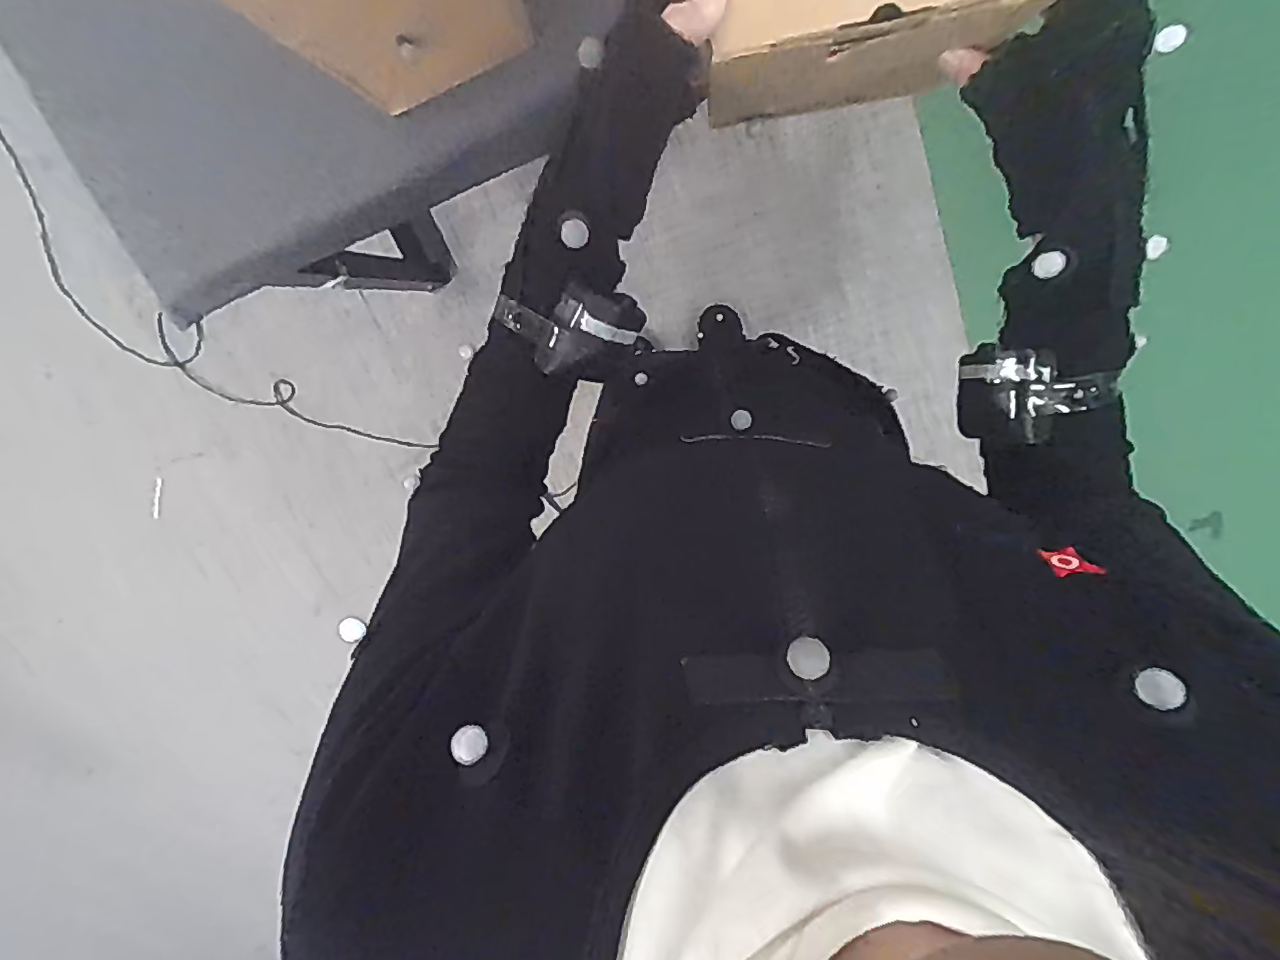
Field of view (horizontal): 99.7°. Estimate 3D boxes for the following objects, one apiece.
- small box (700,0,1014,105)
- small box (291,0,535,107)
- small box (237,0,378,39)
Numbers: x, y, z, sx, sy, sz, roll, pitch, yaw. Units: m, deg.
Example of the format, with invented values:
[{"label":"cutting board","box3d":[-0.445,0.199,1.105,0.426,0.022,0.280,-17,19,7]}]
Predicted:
[{"label":"small box","box3d":[0.115,-0.335,0.302,0.168,0.176,0.179,-4,111,9]},{"label":"small box","box3d":[-0.220,-0.478,0.483,0.179,0.176,0.168,-18,104,10]},{"label":"small box","box3d":[-0.233,-0.430,0.329,0.179,0.176,0.168,-19,102,11]}]
